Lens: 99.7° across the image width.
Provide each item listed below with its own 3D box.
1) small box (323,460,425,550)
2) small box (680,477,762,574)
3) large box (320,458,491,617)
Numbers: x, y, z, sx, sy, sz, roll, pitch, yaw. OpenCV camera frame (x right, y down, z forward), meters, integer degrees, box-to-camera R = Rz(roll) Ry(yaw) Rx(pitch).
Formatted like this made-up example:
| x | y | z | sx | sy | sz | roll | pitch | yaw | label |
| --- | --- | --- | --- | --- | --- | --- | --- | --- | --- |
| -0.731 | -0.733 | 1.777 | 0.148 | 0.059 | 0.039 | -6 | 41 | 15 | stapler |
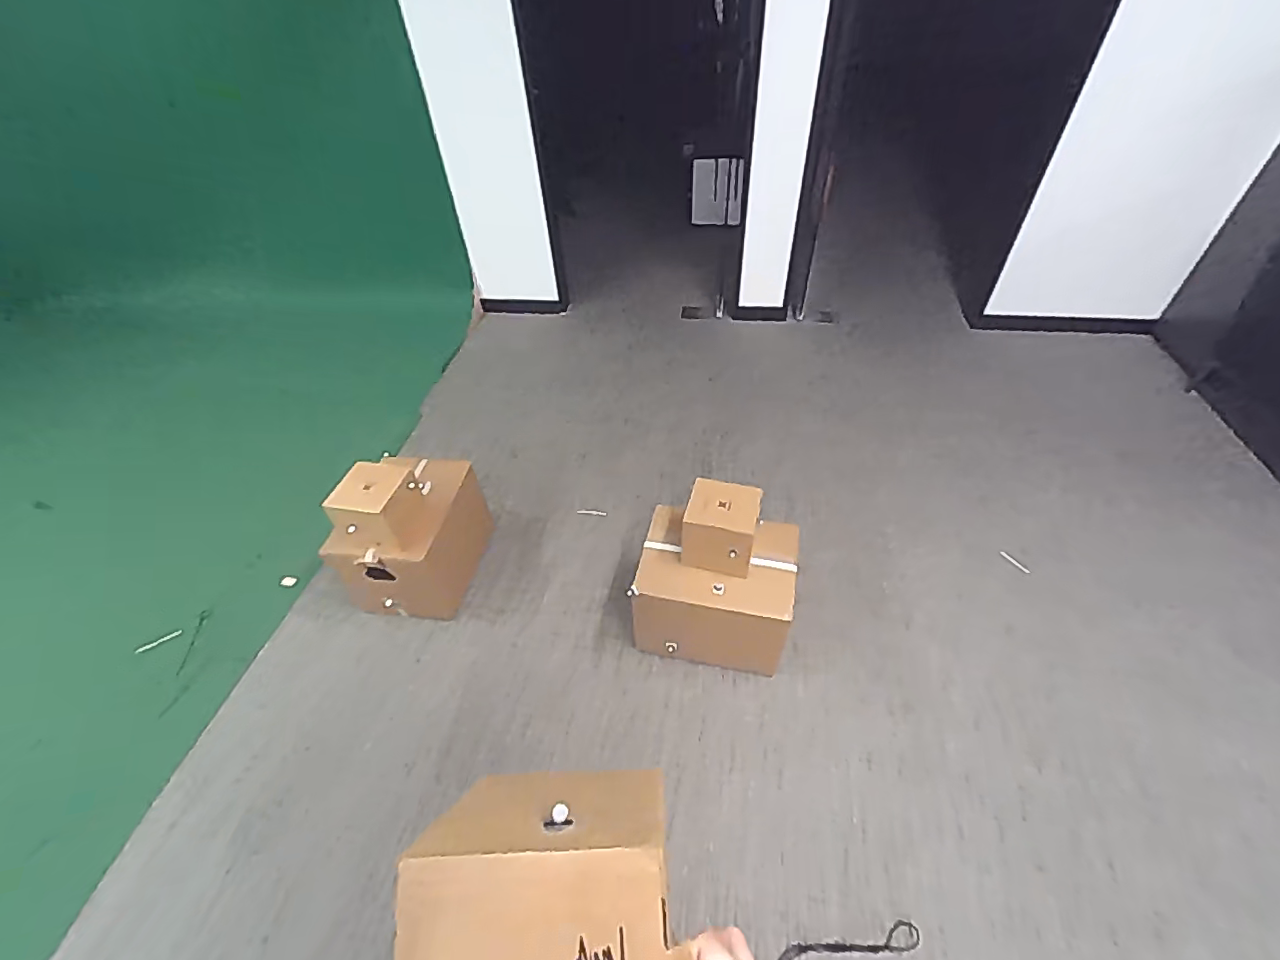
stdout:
| x | y | z | sx | sy | sz | roll | pitch | yaw | label |
| --- | --- | --- | --- | --- | --- | --- | --- | --- | --- |
| -0.722 | 0.071 | 1.493 | 0.168 | 0.176 | 0.179 | 7 | 45 | 8 | small box |
| 0.207 | 0.121 | 1.395 | 0.179 | 0.176 | 0.168 | 11 | 44 | 13 | small box |
| -0.715 | 0.182 | 1.729 | 0.320 | 0.320 | 0.408 | 4 | 45 | 7 | large box |
